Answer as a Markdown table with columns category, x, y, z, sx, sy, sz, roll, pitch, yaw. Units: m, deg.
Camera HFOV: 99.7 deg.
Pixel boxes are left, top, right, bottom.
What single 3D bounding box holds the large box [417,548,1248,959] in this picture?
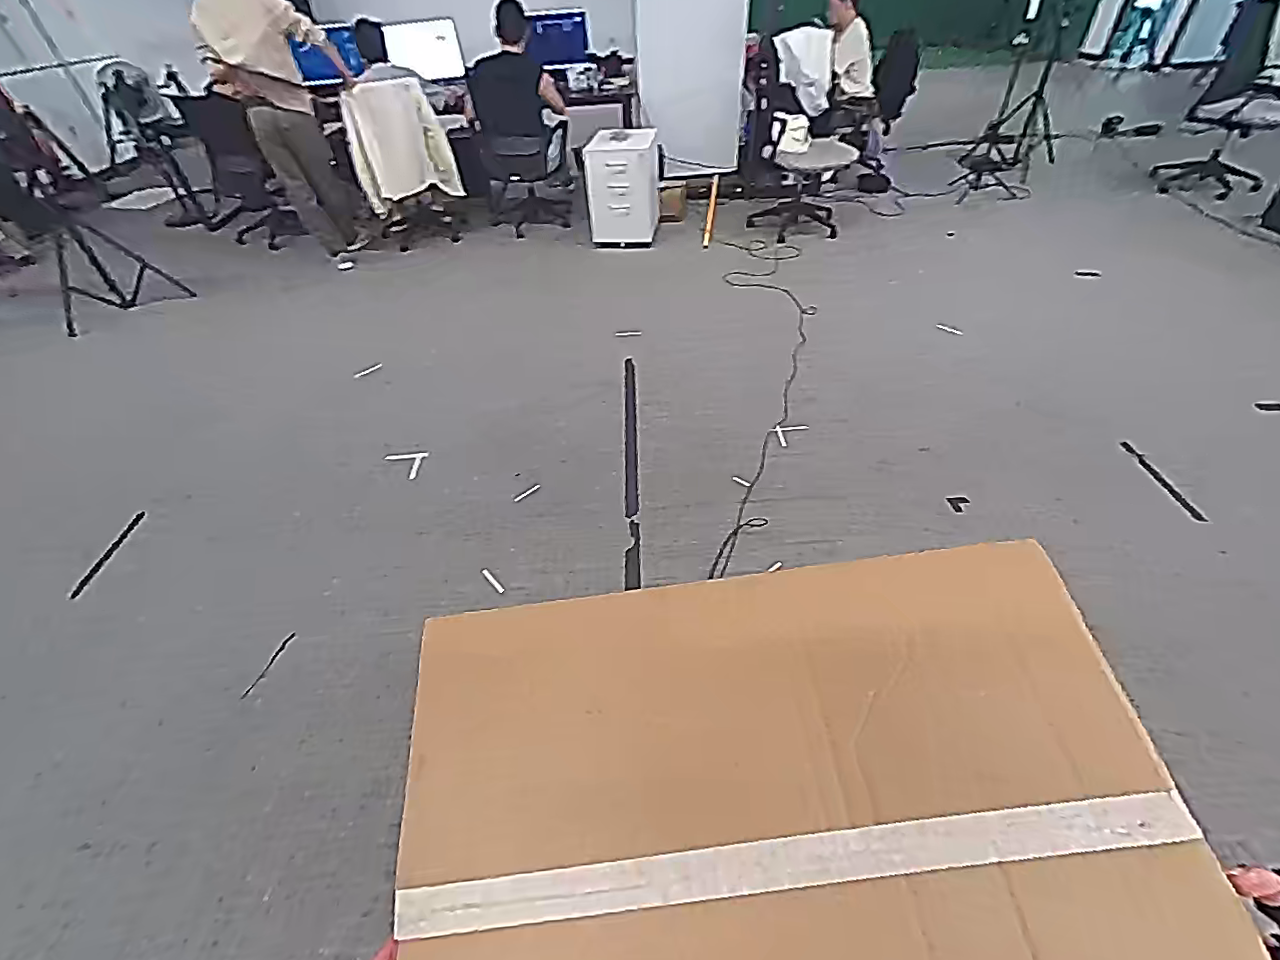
| category | x | y | z | sx | sy | sz | roll | pitch | yaw |
| --- | --- | --- | --- | --- | --- | --- | --- | --- | --- |
| large box | 0.091 | 0.280 | 0.411 | 0.408 | 0.320 | 0.320 | -8 | 59 | 1 |
